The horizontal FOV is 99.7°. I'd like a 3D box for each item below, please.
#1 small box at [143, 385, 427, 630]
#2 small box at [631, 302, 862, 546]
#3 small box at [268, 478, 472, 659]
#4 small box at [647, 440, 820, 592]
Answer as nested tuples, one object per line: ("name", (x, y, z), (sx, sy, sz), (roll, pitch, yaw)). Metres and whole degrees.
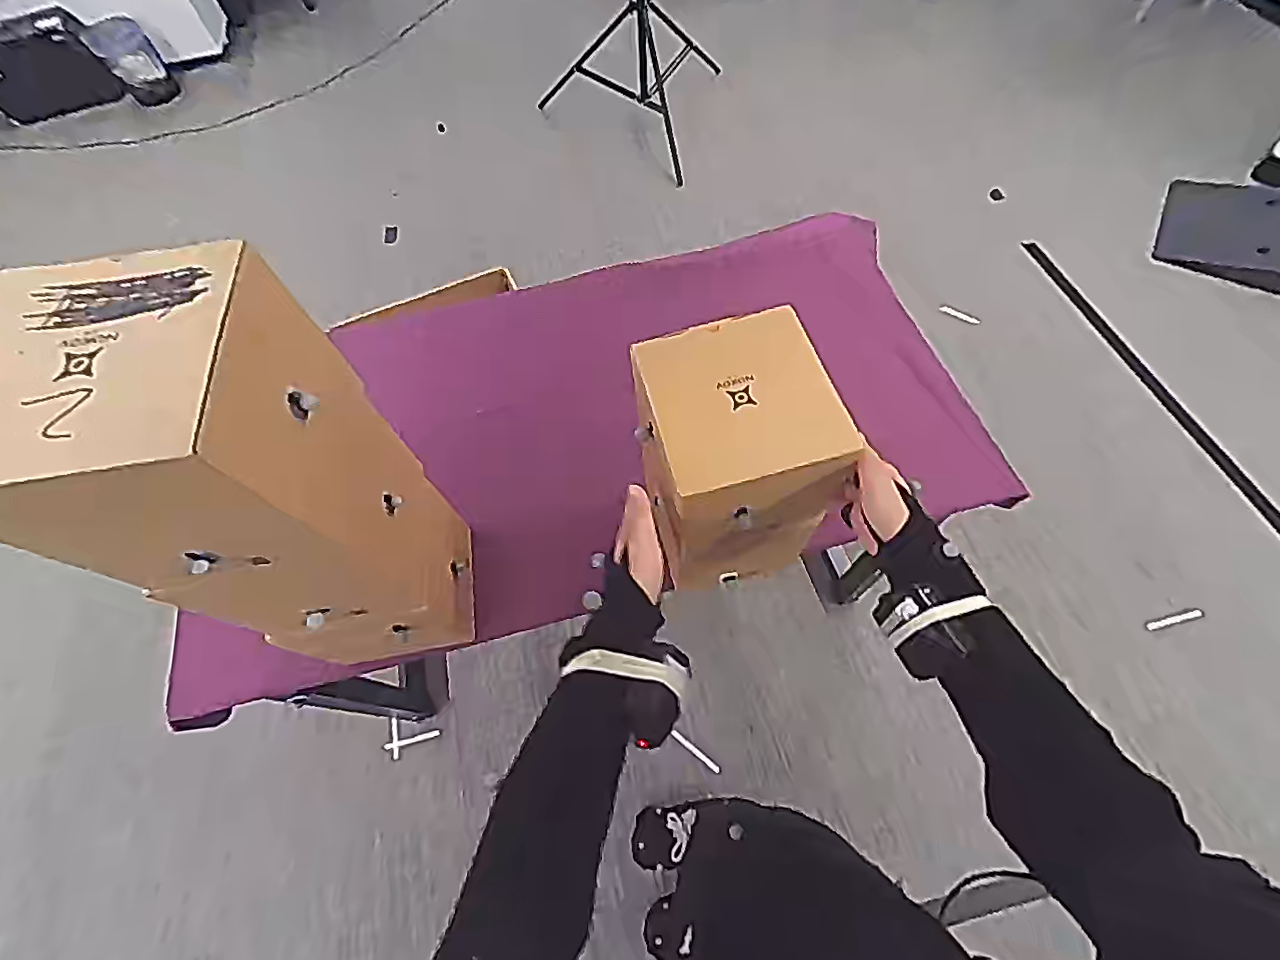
("small box", (-0.326, 0.034, 0.541), (0.168, 0.176, 0.179), (-11, 64, -2))
("small box", (0.097, -0.045, 0.559), (0.168, 0.176, 0.179), (-15, 62, -2))
("small box", (-0.319, 0.118, 0.682), (0.179, 0.176, 0.168), (-11, 63, -2))
("small box", (0.108, 0.026, 0.705), (0.168, 0.176, 0.179), (-15, 64, -2))
